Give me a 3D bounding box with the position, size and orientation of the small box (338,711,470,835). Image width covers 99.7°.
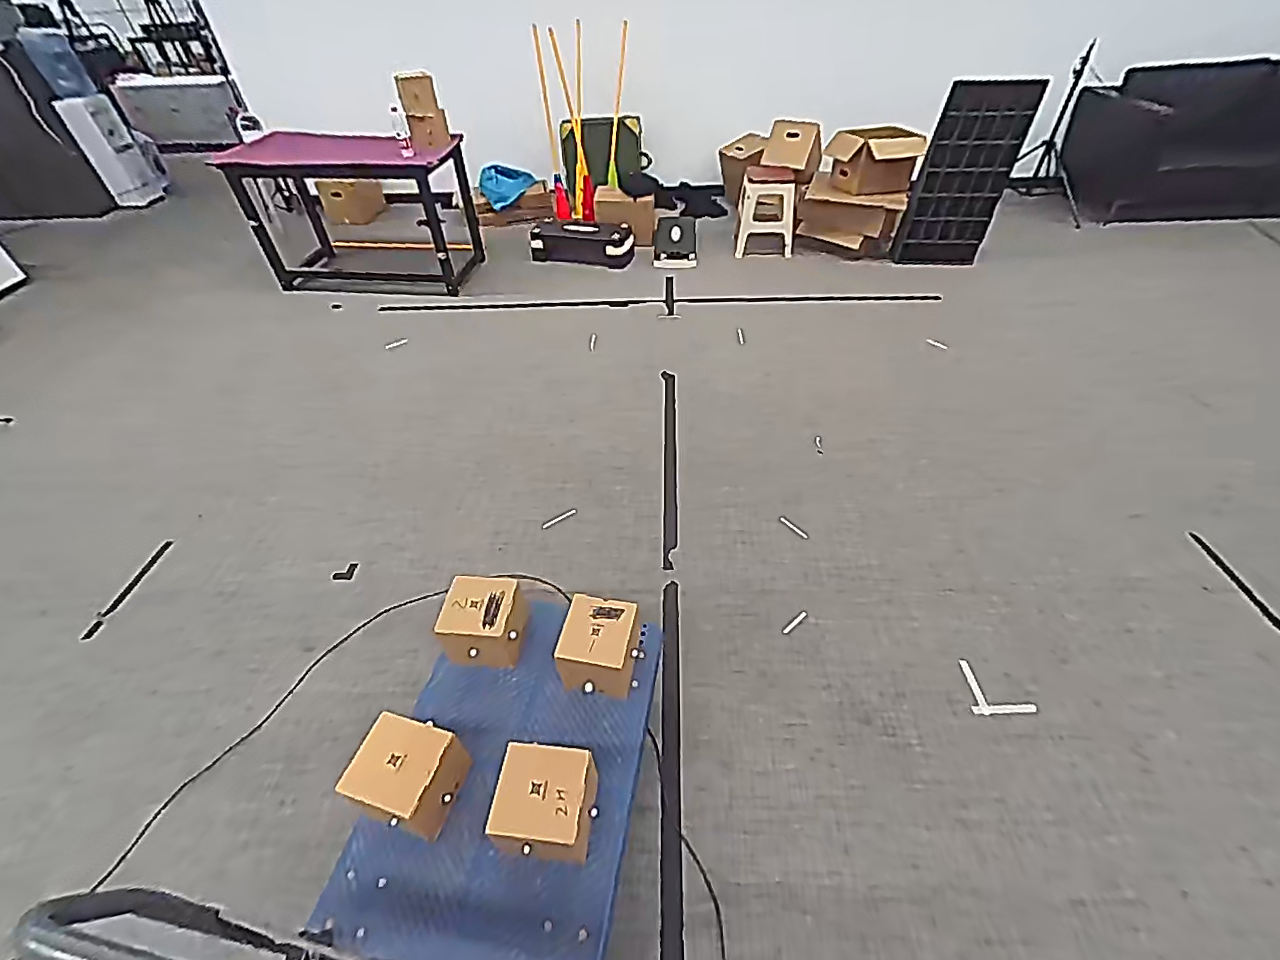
[{"bbox_3d":[-0.492,0.628,1.156,0.179,0.176,0.168,12,46,11],"label":"small box"}]

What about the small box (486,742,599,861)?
[{"bbox_3d":[-0.190,0.661,1.109,0.179,0.176,0.168,4,46,6],"label":"small box"}]

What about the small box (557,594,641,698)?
[{"bbox_3d":[-0.095,0.414,1.352,0.168,0.176,0.179,7,47,10],"label":"small box"}]
